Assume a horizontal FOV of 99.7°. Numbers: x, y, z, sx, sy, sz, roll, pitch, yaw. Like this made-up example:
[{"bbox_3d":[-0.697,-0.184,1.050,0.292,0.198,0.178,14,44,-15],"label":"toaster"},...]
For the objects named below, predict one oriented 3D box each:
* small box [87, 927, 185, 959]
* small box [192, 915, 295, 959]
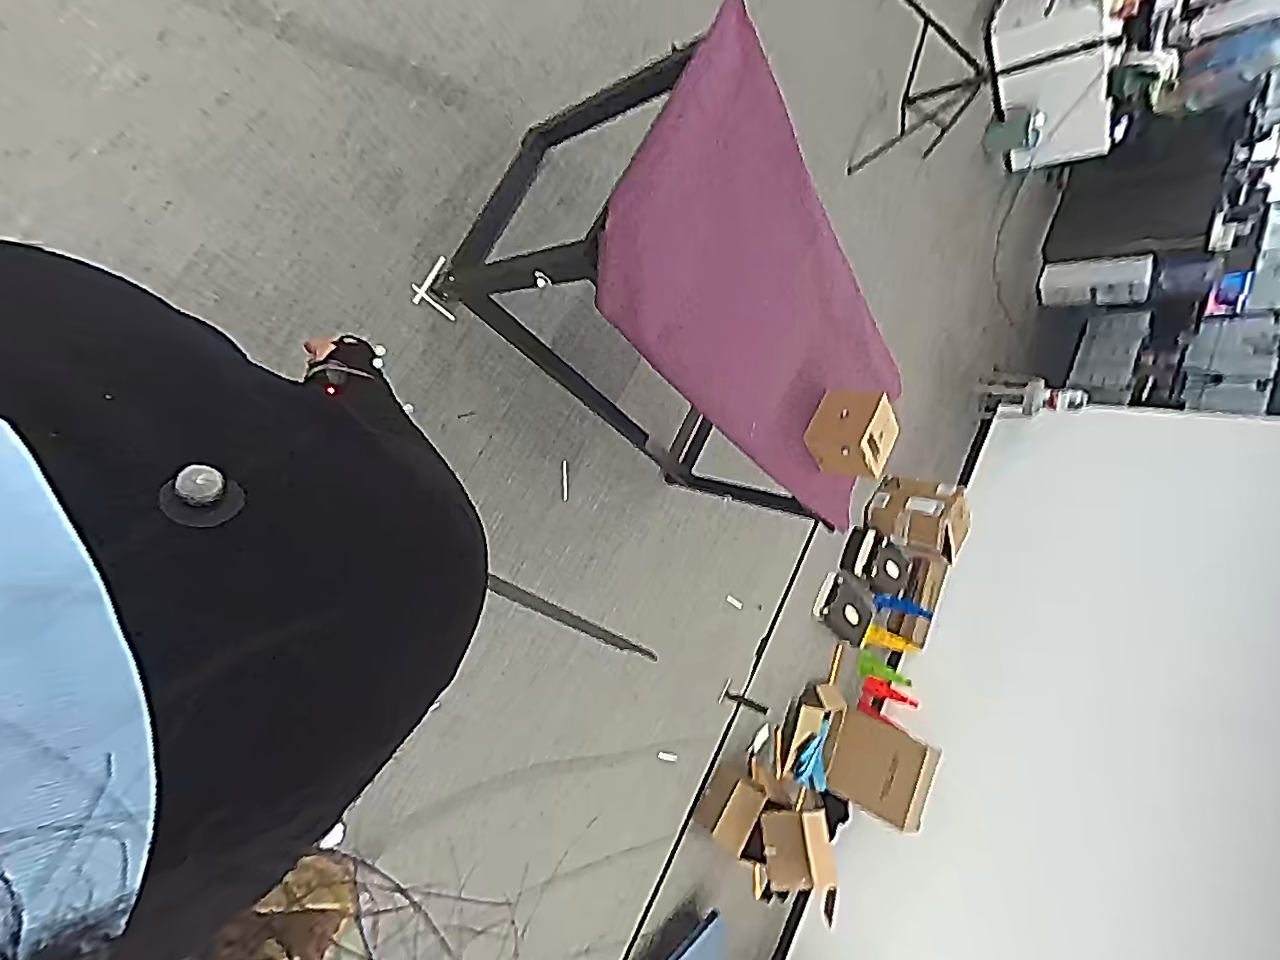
[{"bbox_3d":[-1.134,1.133,1.182,0.168,0.176,0.179,44,70,-41],"label":"small box"},{"bbox_3d":[-0.996,1.214,1.330,0.168,0.176,0.179,35,76,-41],"label":"small box"}]
